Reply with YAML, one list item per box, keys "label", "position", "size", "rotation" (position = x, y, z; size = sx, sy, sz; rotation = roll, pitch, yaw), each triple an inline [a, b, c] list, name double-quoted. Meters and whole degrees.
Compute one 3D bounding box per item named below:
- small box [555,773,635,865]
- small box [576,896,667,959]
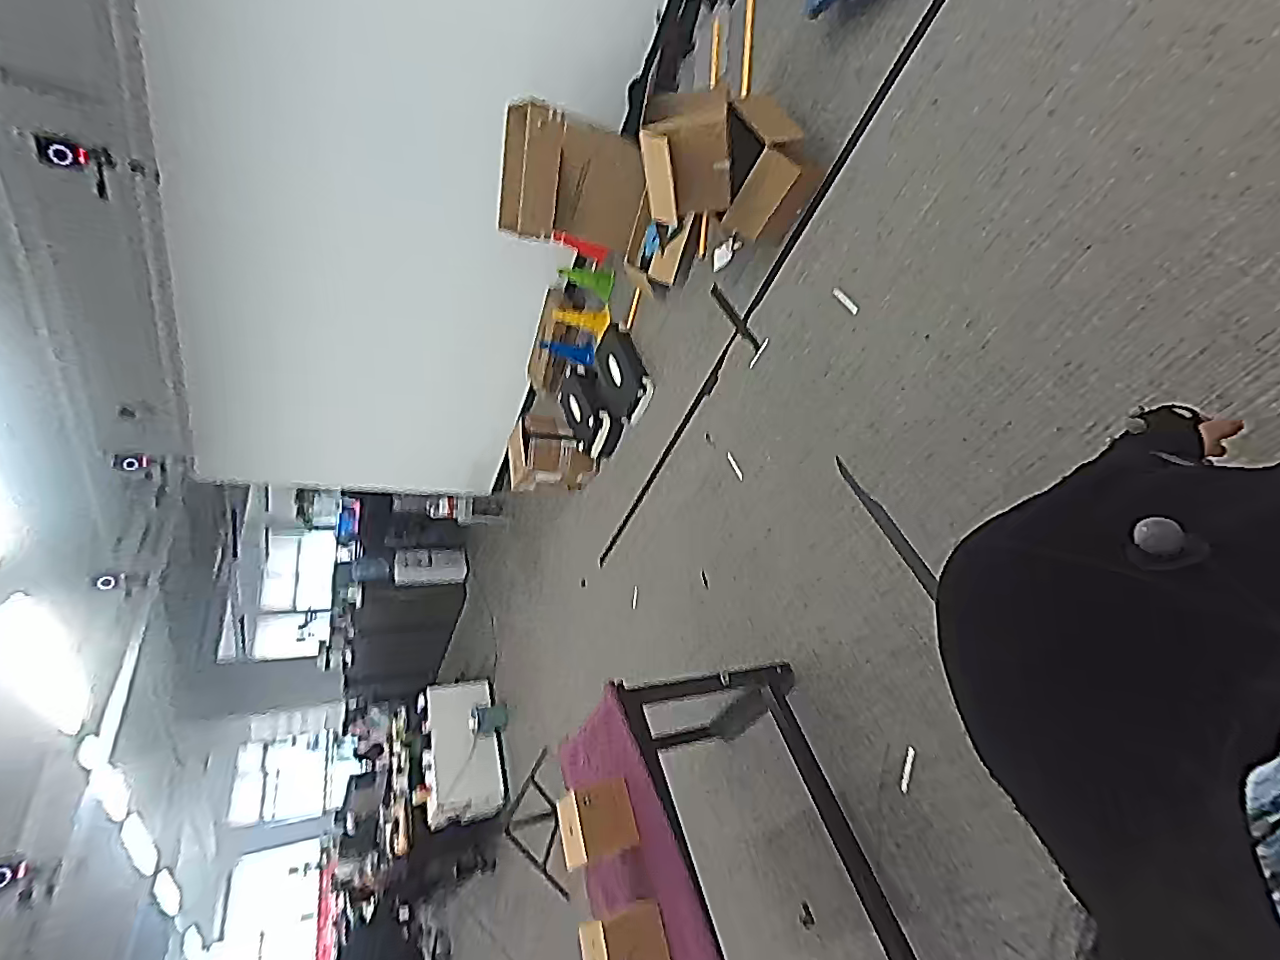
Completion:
- label: "small box"
  position: [-0.130, 0.982, 1.570]
  size: [0.168, 0.176, 0.179]
  rotation: [-58, 40, 41]
- label: "small box"
  position: [-0.045, 1.208, 1.394]
  size: [0.168, 0.176, 0.179]
  rotation: [-52, 43, 43]
